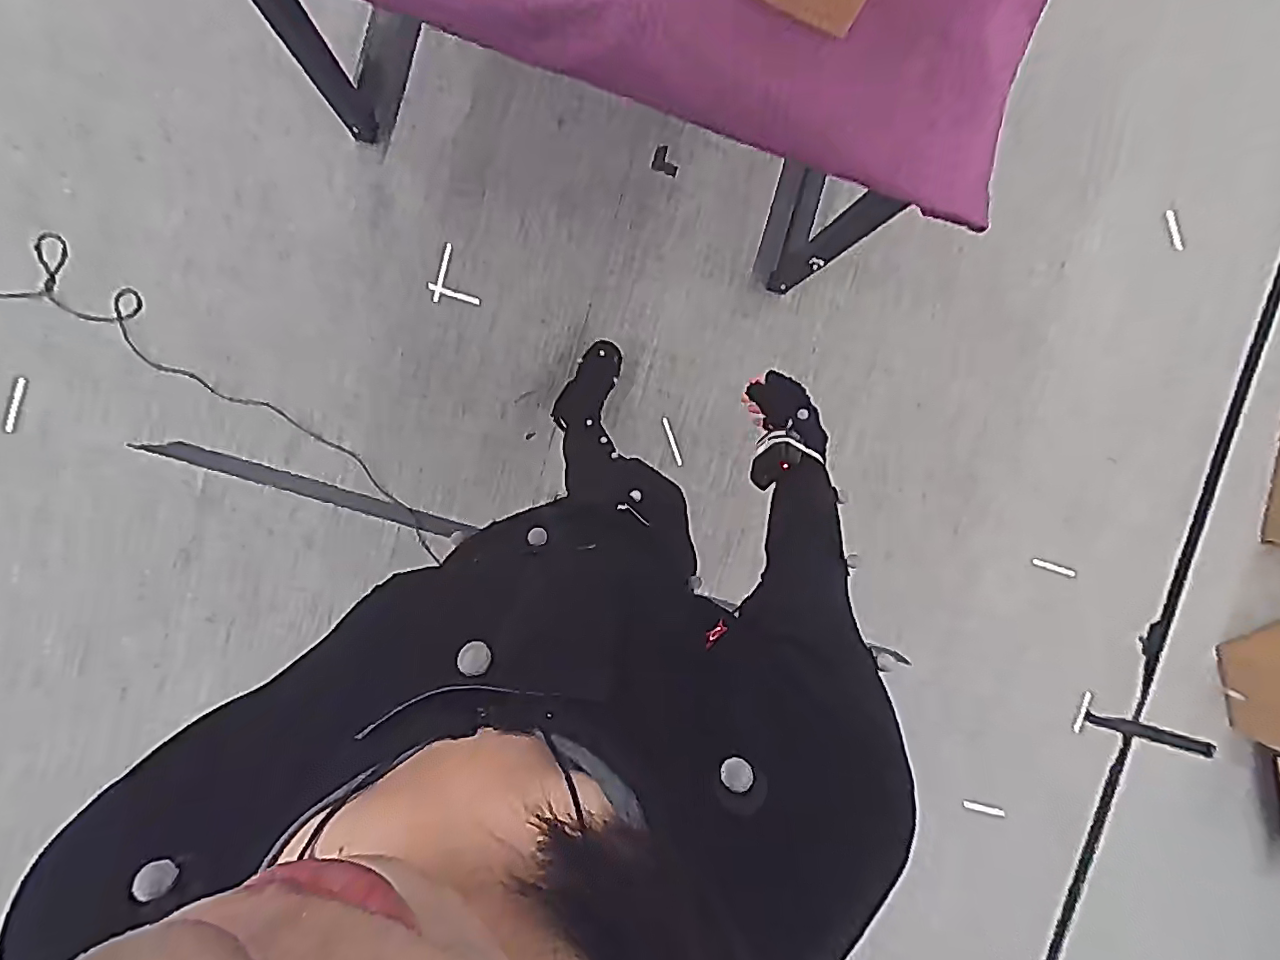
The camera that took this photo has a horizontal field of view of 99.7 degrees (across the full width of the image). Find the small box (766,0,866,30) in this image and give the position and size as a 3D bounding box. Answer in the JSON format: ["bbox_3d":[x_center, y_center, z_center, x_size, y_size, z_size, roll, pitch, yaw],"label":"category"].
[{"bbox_3d":[0.241,-0.715,0.665,0.179,0.176,0.168,20,89,-6],"label":"small box"}]
